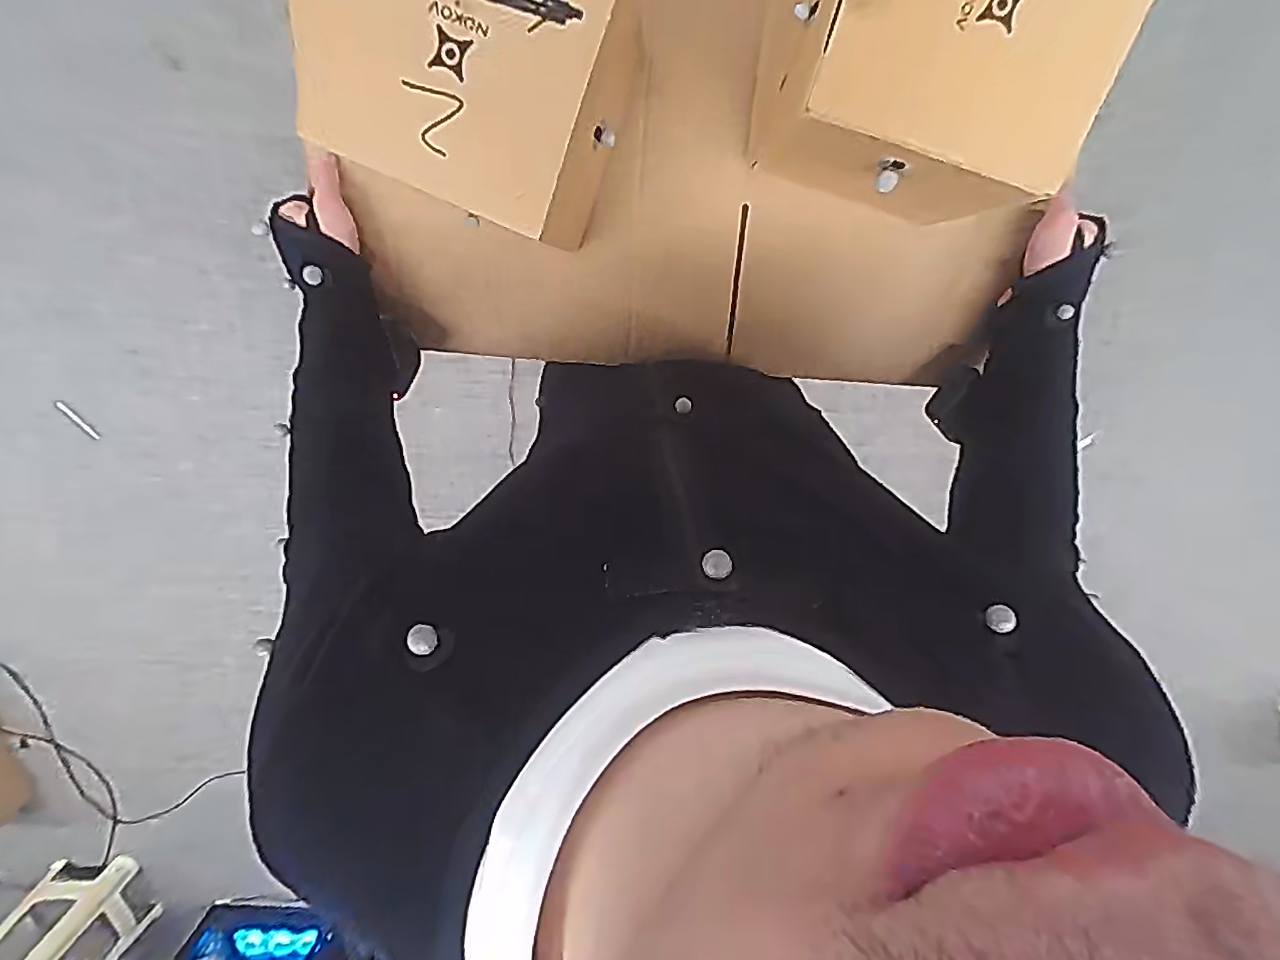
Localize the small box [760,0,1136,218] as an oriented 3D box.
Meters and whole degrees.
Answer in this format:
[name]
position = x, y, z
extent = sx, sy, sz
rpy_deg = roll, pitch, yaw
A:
[small box]
position = 0.210, -0.311, 0.406
extent = 0.179, 0.176, 0.168
rpy_deg = 16, 108, -4
